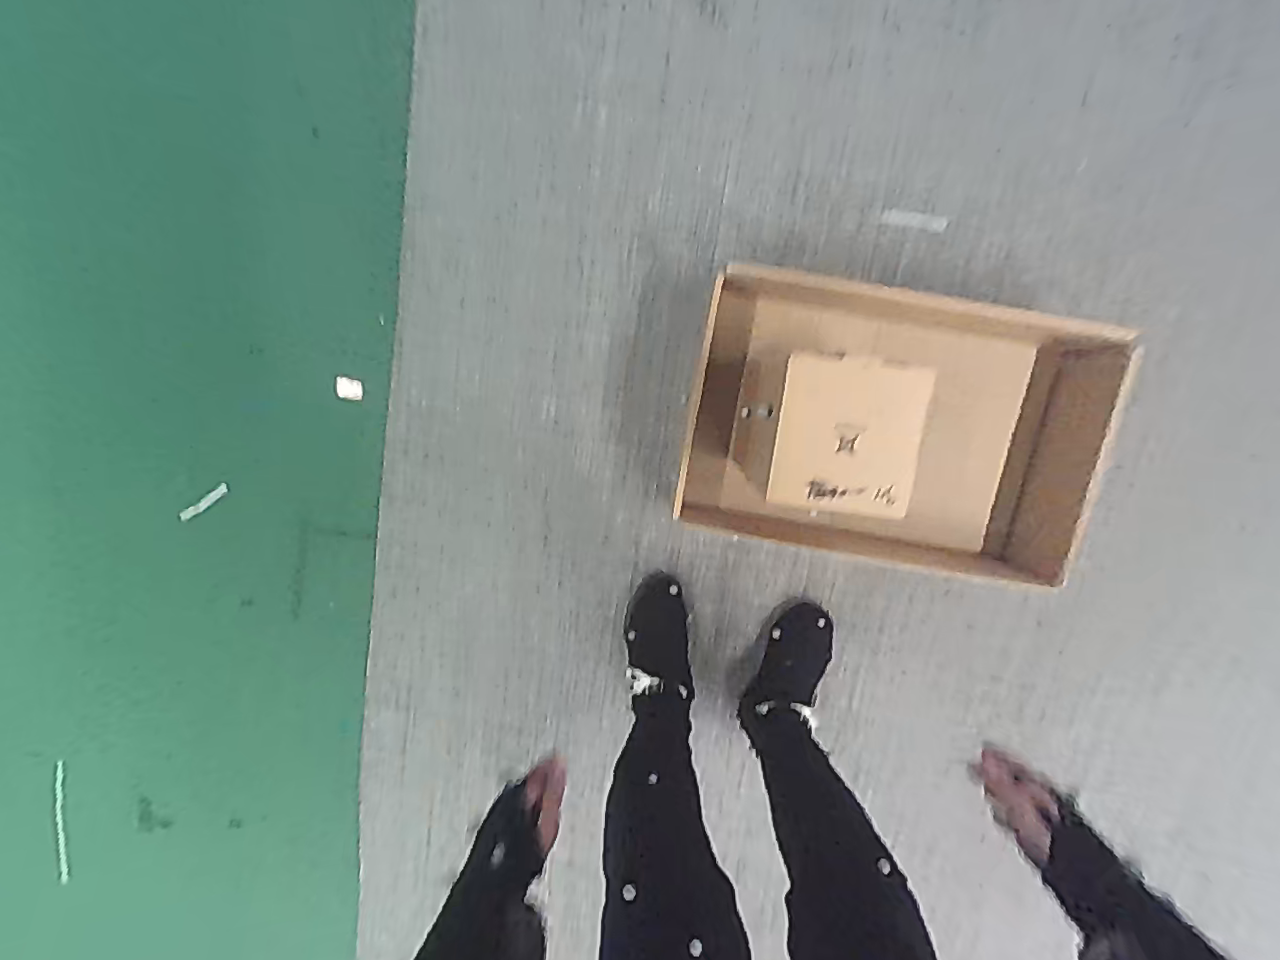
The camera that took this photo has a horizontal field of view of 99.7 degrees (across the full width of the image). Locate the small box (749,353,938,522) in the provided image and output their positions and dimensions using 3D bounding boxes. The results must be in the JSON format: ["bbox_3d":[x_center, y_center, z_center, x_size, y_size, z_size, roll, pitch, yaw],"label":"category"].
[{"bbox_3d":[0.244,-0.058,0.694,0.168,0.176,0.179,8,99,1],"label":"small box"}]
